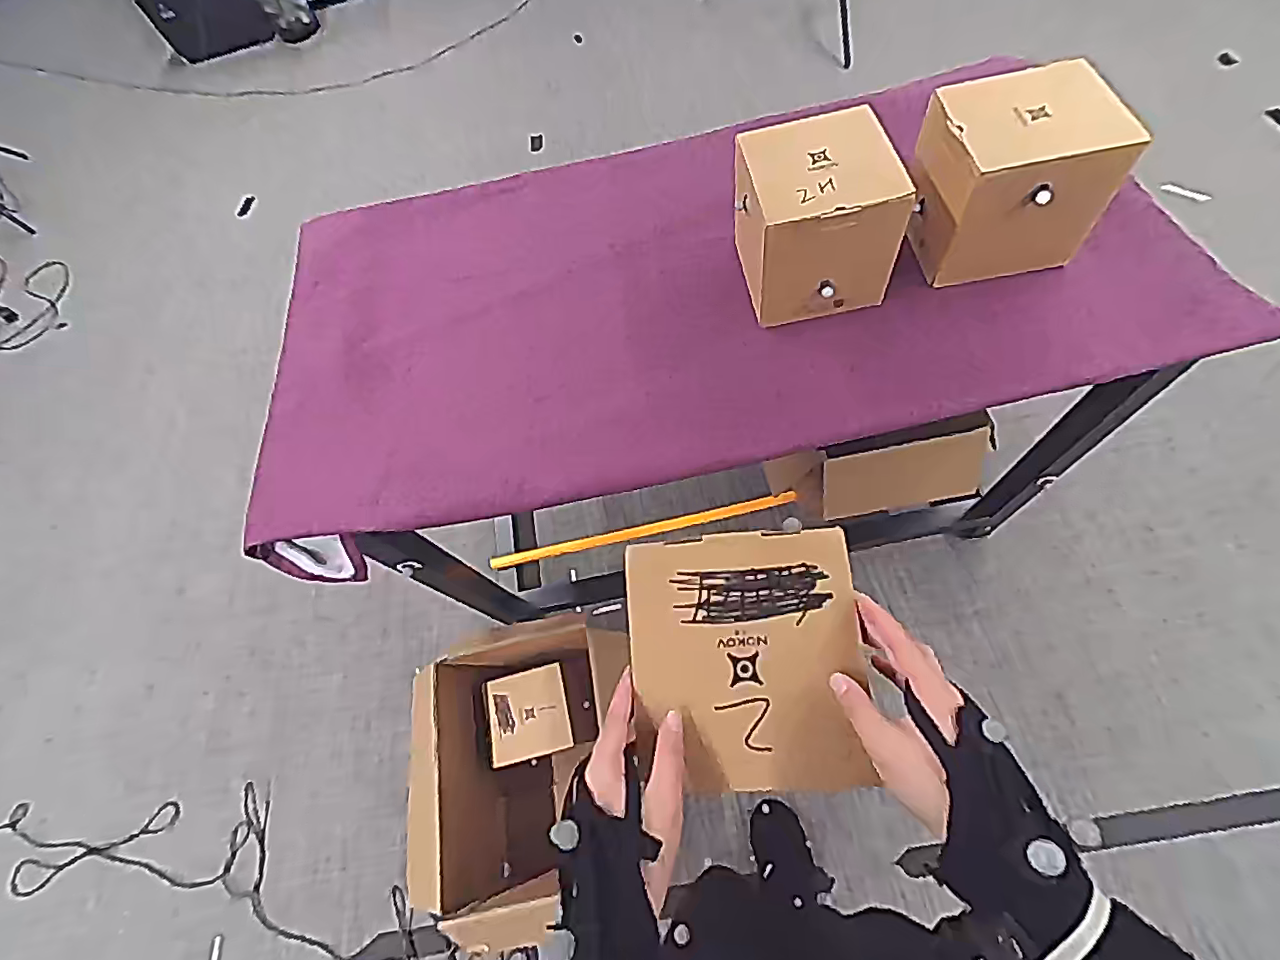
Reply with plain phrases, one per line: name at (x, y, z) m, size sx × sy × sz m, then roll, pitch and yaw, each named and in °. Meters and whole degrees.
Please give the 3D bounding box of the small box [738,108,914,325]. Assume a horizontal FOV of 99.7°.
small box at (0.222, -0.334, 0.704) m, size 0.168 × 0.176 × 0.179 m, roll -10°, pitch 63°, yaw 5°

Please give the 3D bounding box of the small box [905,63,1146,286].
small box at (0.459, -0.376, 0.686) m, size 0.179 × 0.176 × 0.168 m, roll -8°, pitch 62°, yaw 6°
